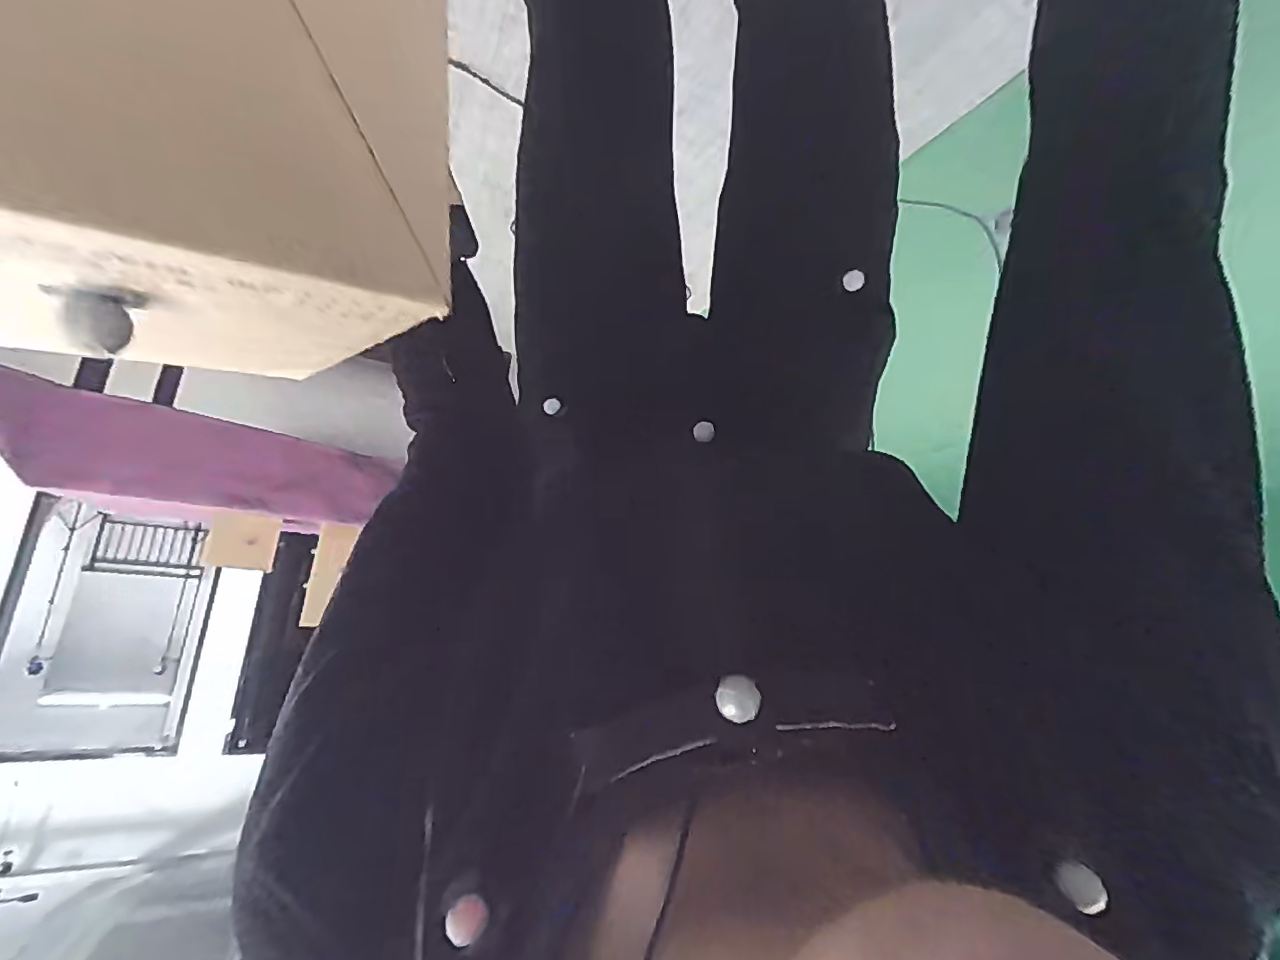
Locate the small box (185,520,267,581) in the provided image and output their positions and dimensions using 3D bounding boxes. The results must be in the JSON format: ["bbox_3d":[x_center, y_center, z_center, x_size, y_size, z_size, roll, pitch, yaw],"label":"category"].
[{"bbox_3d":[-1.281,0.222,1.681,0.179,0.176,0.168,13,163,-33],"label":"small box"}]

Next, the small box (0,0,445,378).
[{"bbox_3d":[-0.170,-0.135,0.154,0.176,0.179,0.168,-1,180,44],"label":"small box"}]
